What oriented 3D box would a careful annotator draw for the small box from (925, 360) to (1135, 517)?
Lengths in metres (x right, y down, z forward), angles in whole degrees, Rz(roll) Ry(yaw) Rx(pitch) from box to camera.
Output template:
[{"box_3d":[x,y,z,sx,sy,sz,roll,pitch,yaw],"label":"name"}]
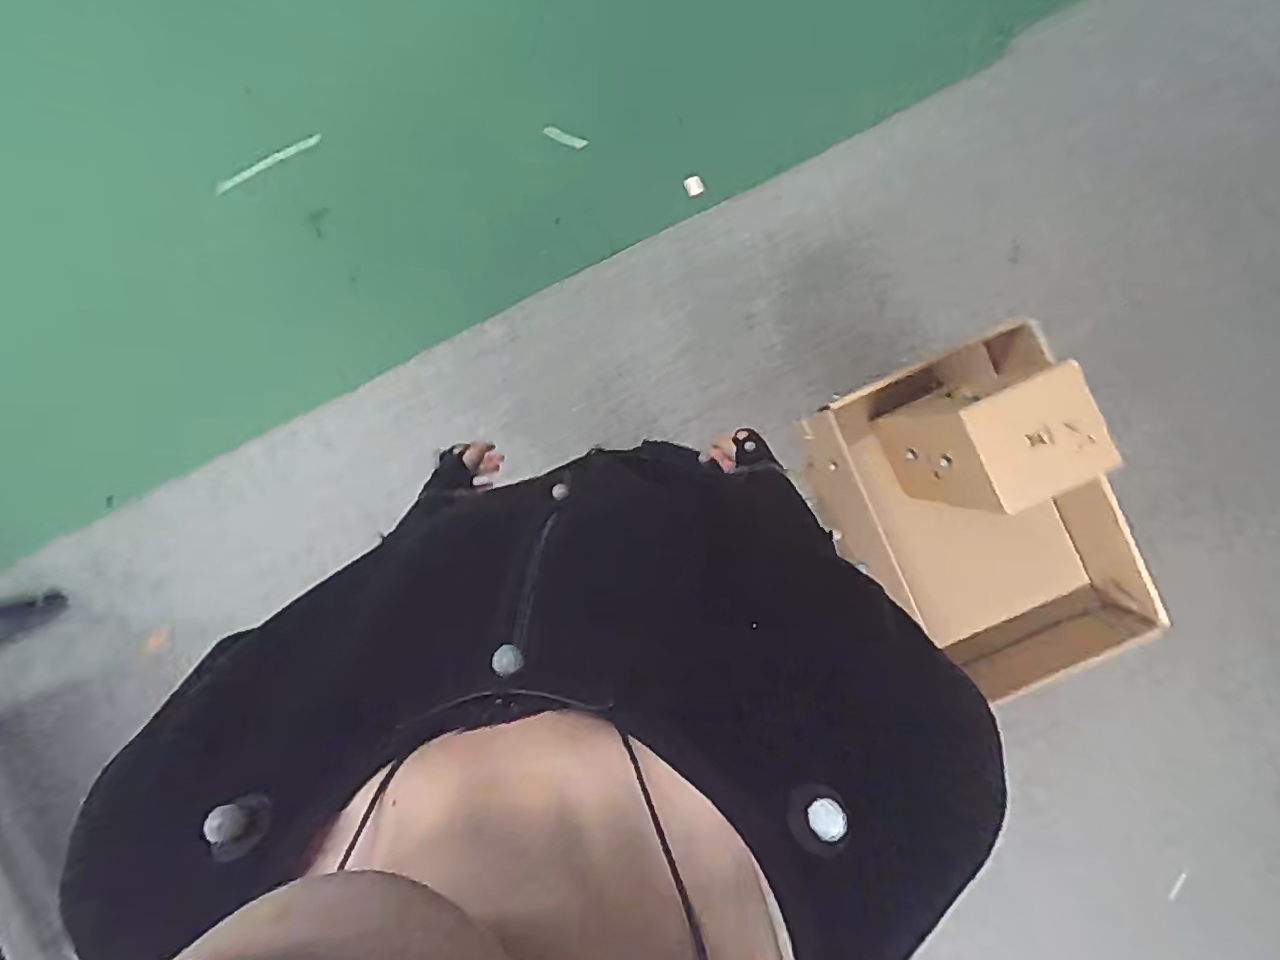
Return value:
[{"box_3d":[0.561,-0.057,0.812,0.179,0.176,0.168,-24,91,3],"label":"small box"}]
